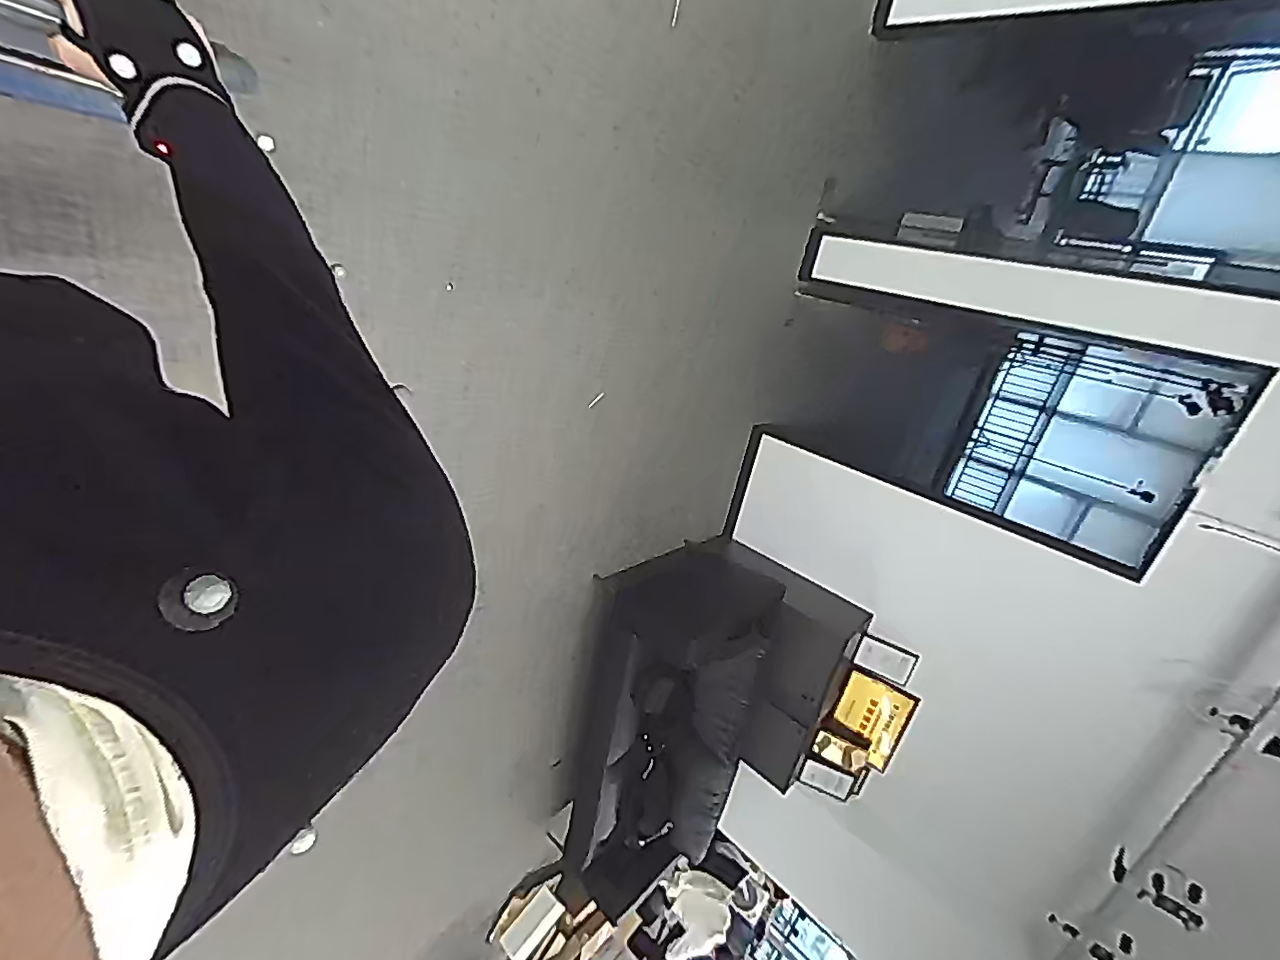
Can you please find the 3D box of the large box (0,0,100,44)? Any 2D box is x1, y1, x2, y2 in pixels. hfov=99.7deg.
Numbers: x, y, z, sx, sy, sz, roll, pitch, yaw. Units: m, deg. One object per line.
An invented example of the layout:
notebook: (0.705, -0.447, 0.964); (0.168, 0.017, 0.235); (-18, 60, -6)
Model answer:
large box: (-0.880, -0.811, 0.616); (0.320, 0.320, 0.408); (-12, 121, -47)
